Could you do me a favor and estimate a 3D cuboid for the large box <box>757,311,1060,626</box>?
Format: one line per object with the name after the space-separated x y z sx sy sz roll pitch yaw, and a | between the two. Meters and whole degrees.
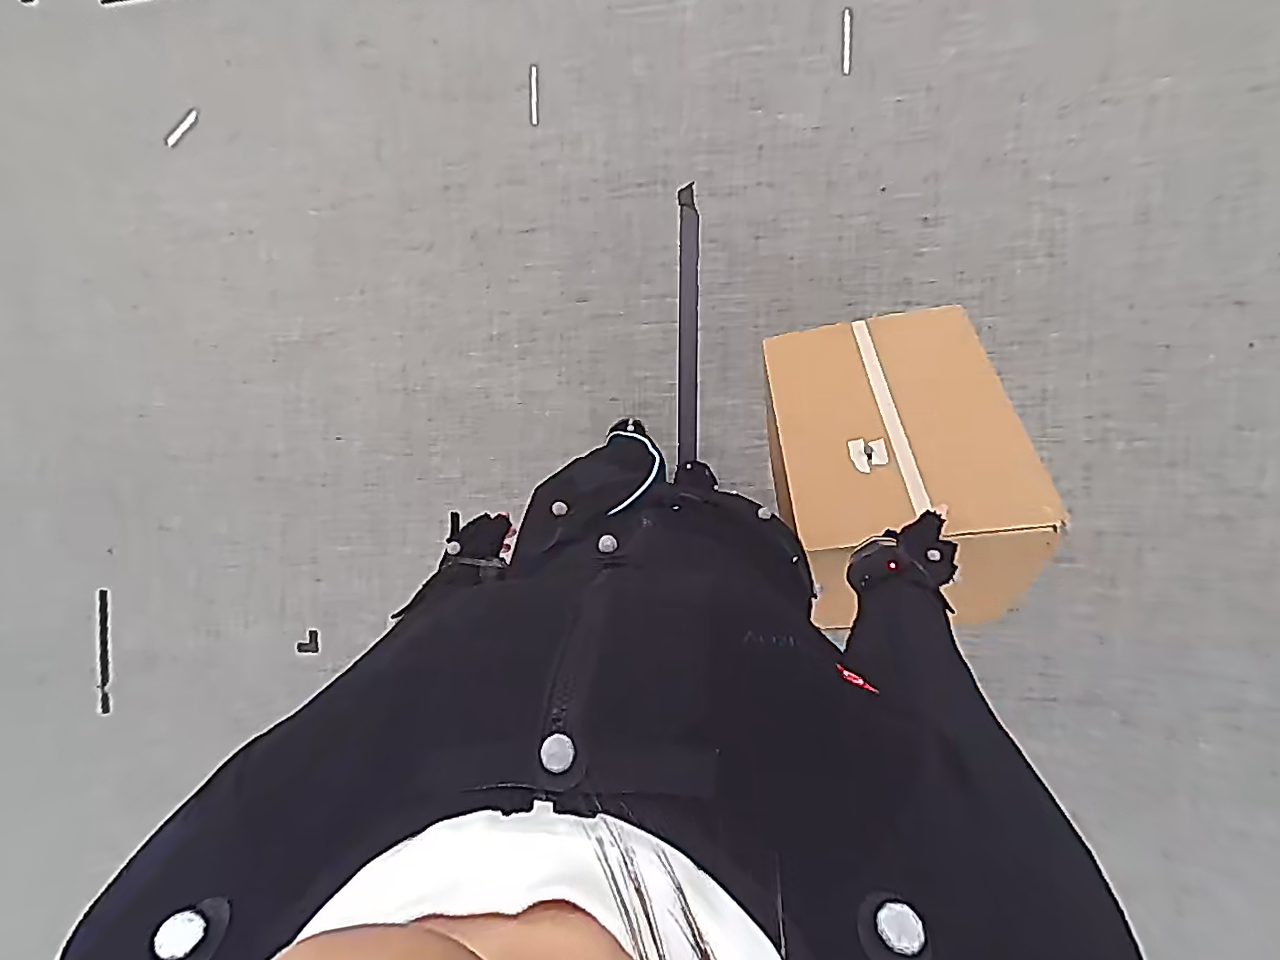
0.385 -0.007 0.901 0.320 0.320 0.408 -8 56 12 | large box
